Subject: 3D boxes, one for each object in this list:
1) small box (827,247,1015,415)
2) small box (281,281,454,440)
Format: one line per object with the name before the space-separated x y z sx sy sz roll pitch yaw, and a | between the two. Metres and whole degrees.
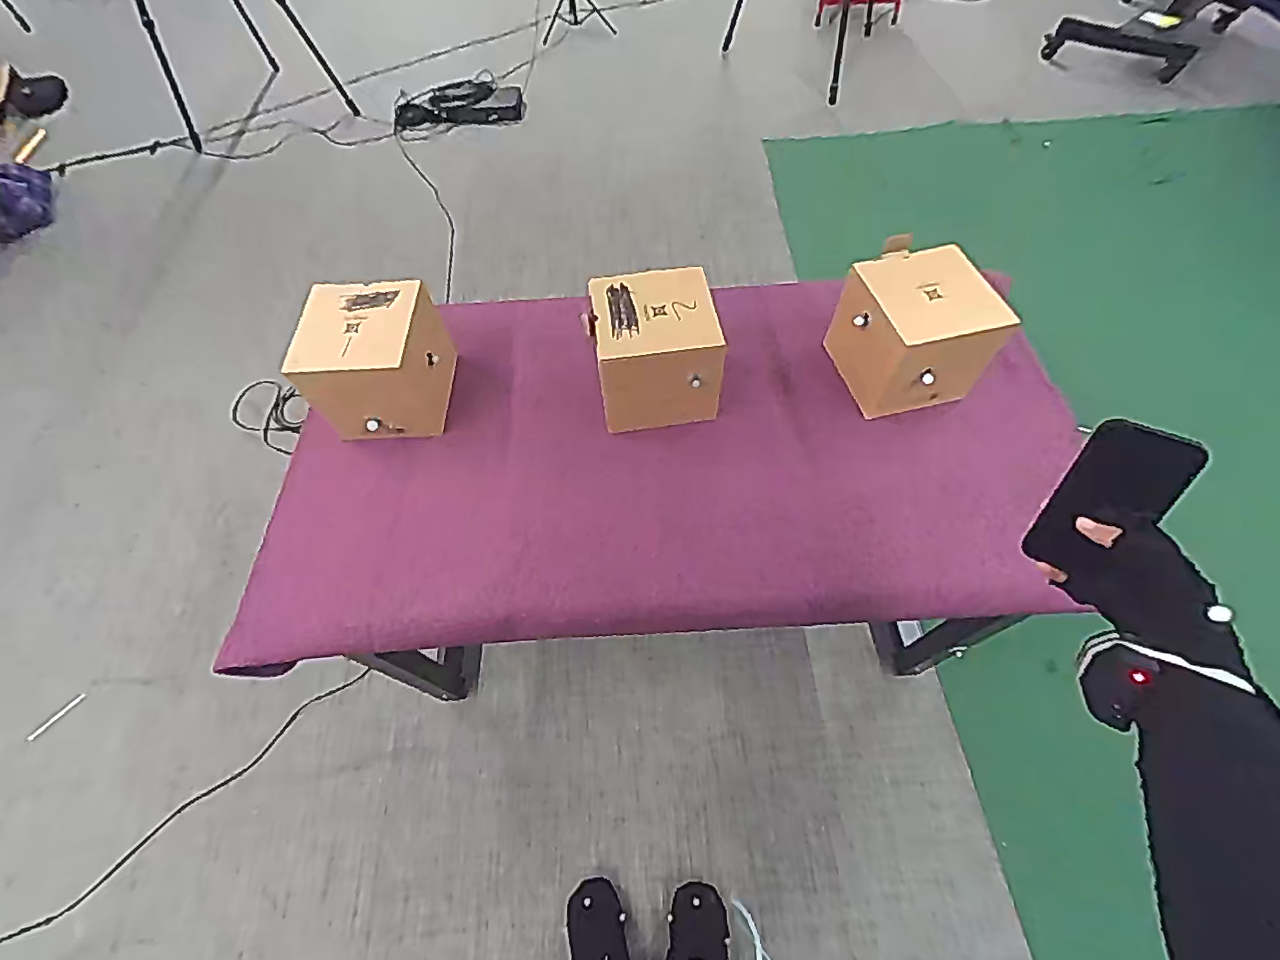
small box | 0.411 -0.218 0.827 0.168 0.176 0.179 -12 59 -4
small box | -0.402 -0.181 0.836 0.168 0.176 0.179 -2 61 1
